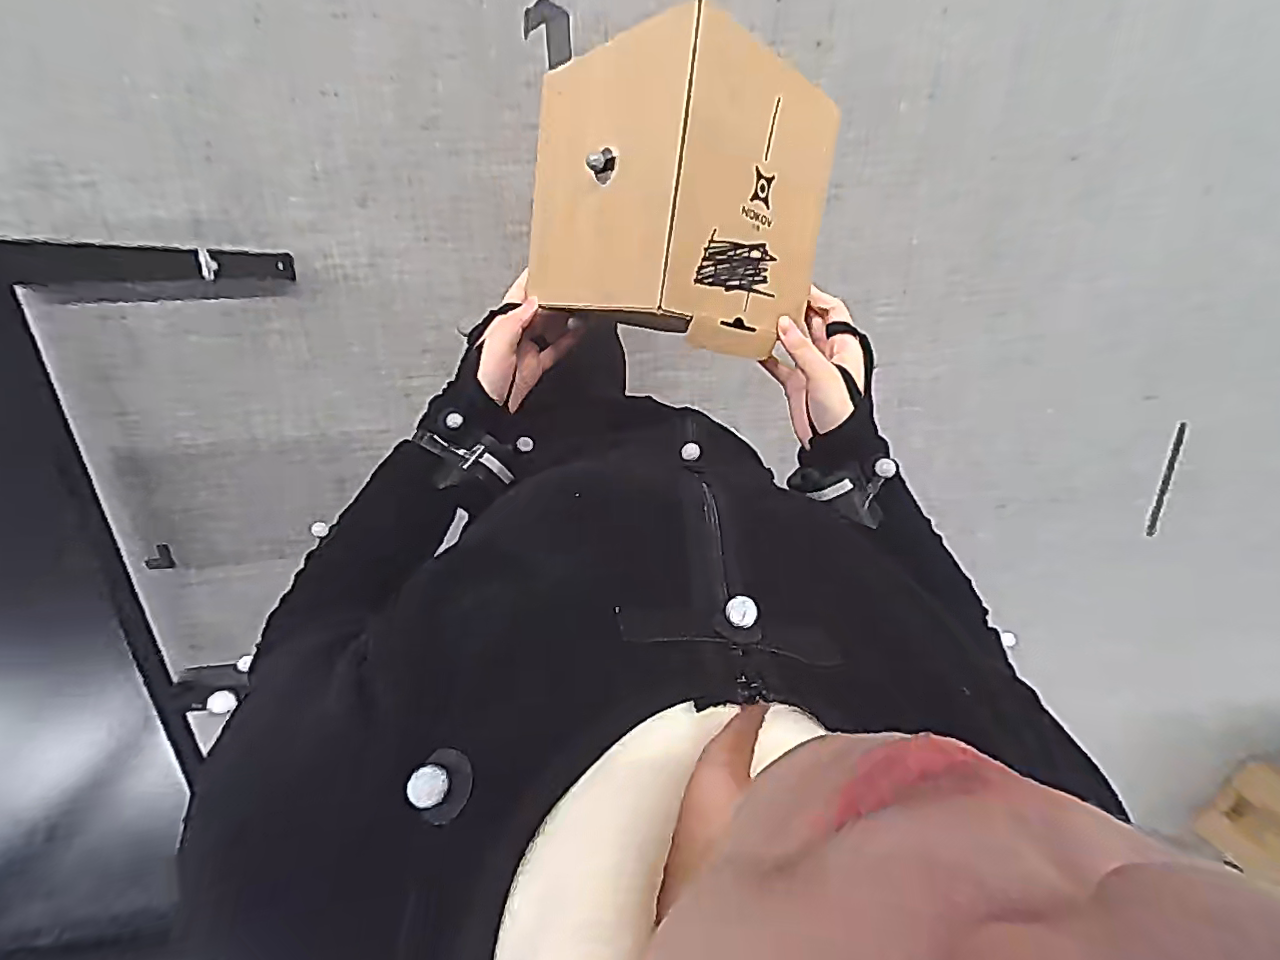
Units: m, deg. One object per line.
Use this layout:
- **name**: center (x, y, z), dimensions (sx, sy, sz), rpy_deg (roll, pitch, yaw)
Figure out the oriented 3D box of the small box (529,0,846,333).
- **small box**: center (0.028, -0.220, 0.424), dimensions (0.168, 0.176, 0.179), rpy_deg (-4, 107, -43)
